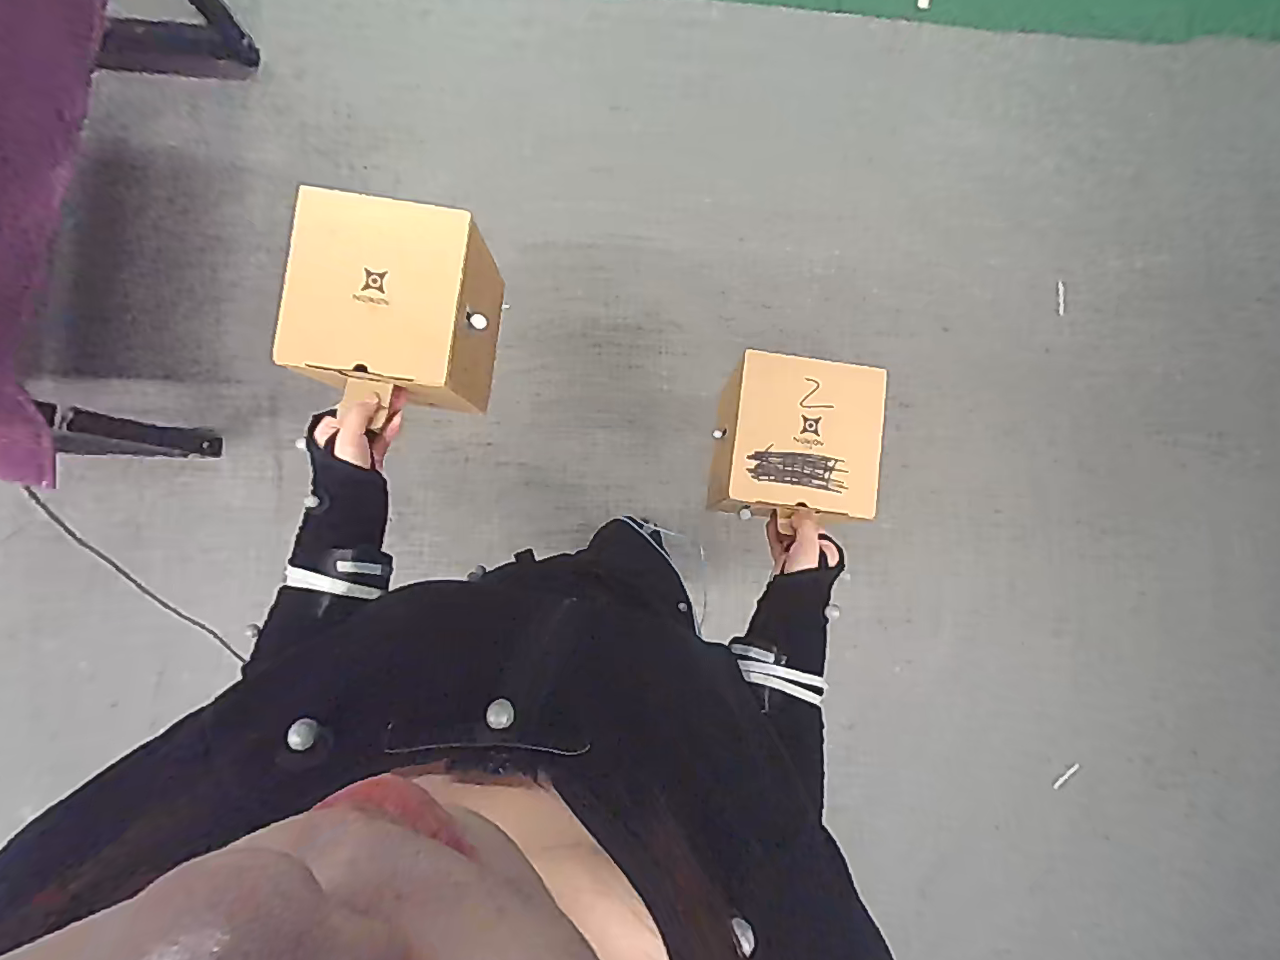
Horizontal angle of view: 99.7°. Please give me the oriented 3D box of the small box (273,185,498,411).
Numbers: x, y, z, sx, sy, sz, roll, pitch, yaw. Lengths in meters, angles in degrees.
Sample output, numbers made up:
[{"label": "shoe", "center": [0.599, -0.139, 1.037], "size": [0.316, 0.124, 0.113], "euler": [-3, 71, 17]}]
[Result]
[{"label": "small box", "center": [-0.261, -0.184, 0.598], "size": [0.168, 0.176, 0.179], "euler": [8, 89, -4]}]
